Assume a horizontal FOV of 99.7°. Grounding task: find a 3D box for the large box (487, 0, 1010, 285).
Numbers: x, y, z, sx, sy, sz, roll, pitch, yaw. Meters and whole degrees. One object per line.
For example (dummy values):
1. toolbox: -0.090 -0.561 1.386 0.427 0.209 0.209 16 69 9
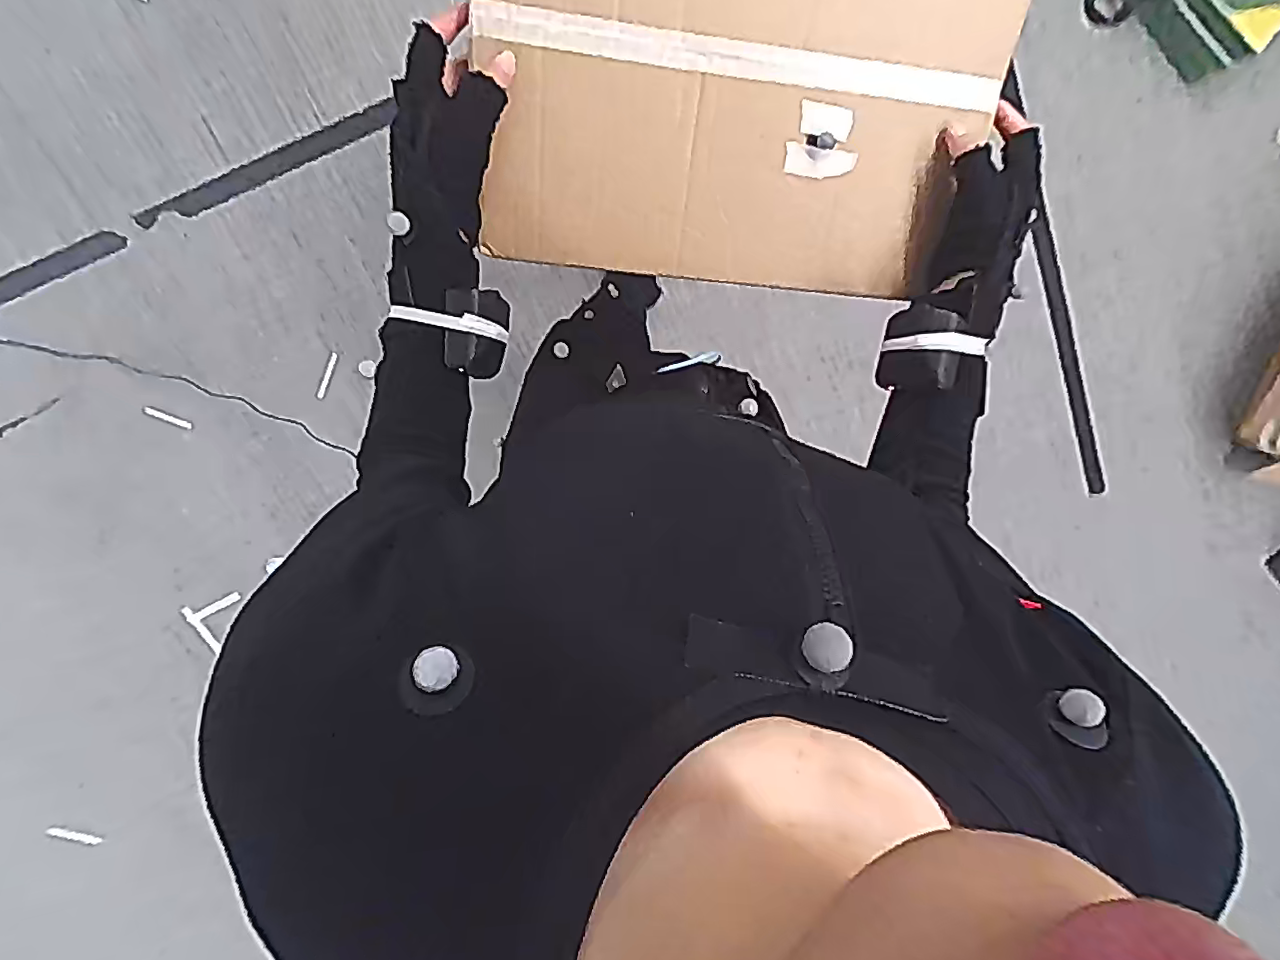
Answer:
1. large box: 0.067 -0.398 0.551 0.408 0.320 0.320 3 119 -8
